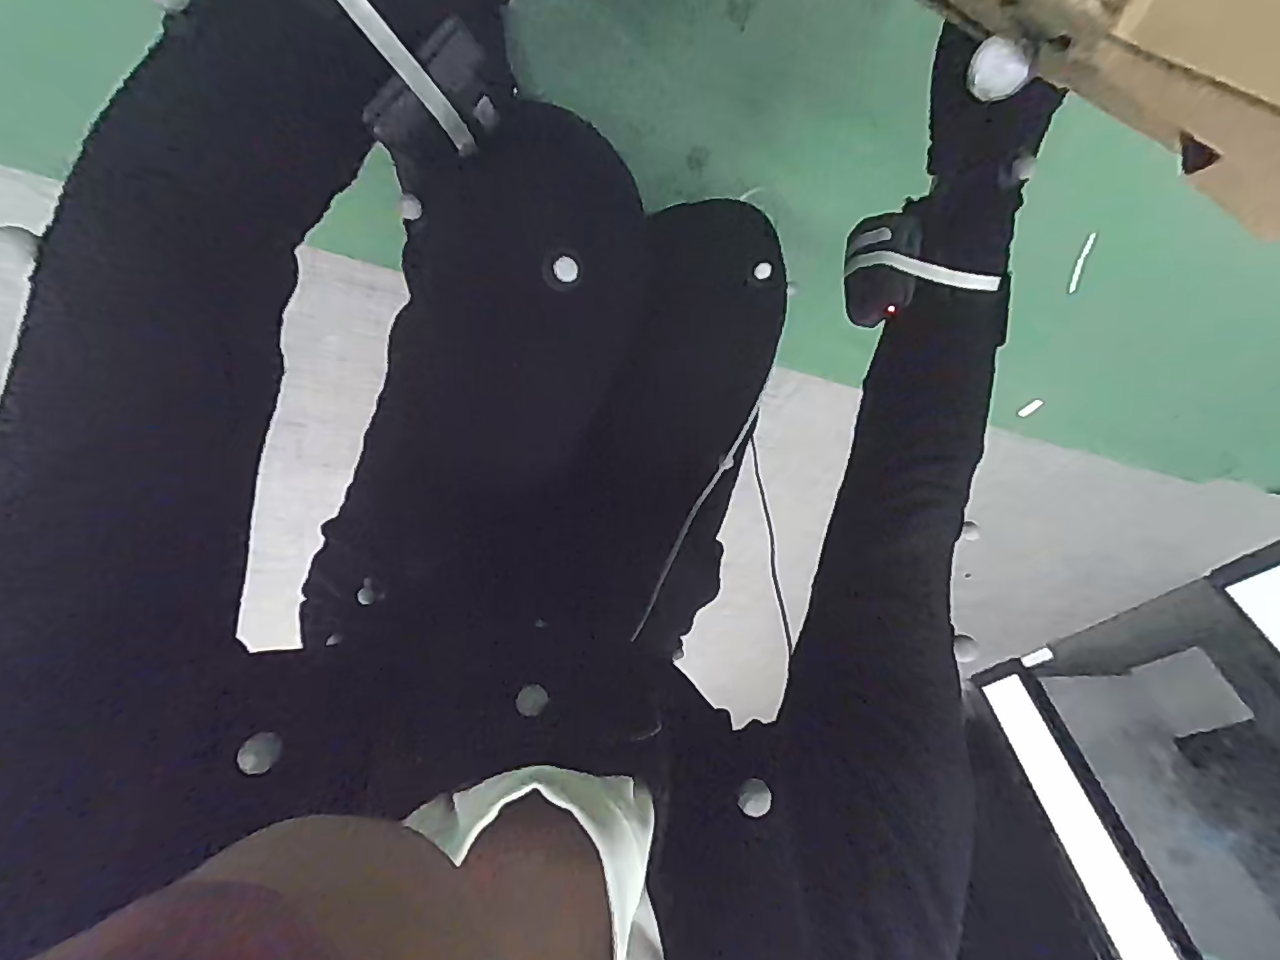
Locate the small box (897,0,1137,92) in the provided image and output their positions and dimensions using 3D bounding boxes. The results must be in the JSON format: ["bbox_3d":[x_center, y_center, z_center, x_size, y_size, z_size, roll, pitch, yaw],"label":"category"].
[{"bbox_3d":[0.155,-0.317,0.224,0.168,0.176,0.179,10,139,-23],"label":"small box"}]

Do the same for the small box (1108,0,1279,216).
[{"bbox_3d":[0.198,-0.060,0.026,0.168,0.176,0.179,8,140,-22],"label":"small box"}]
